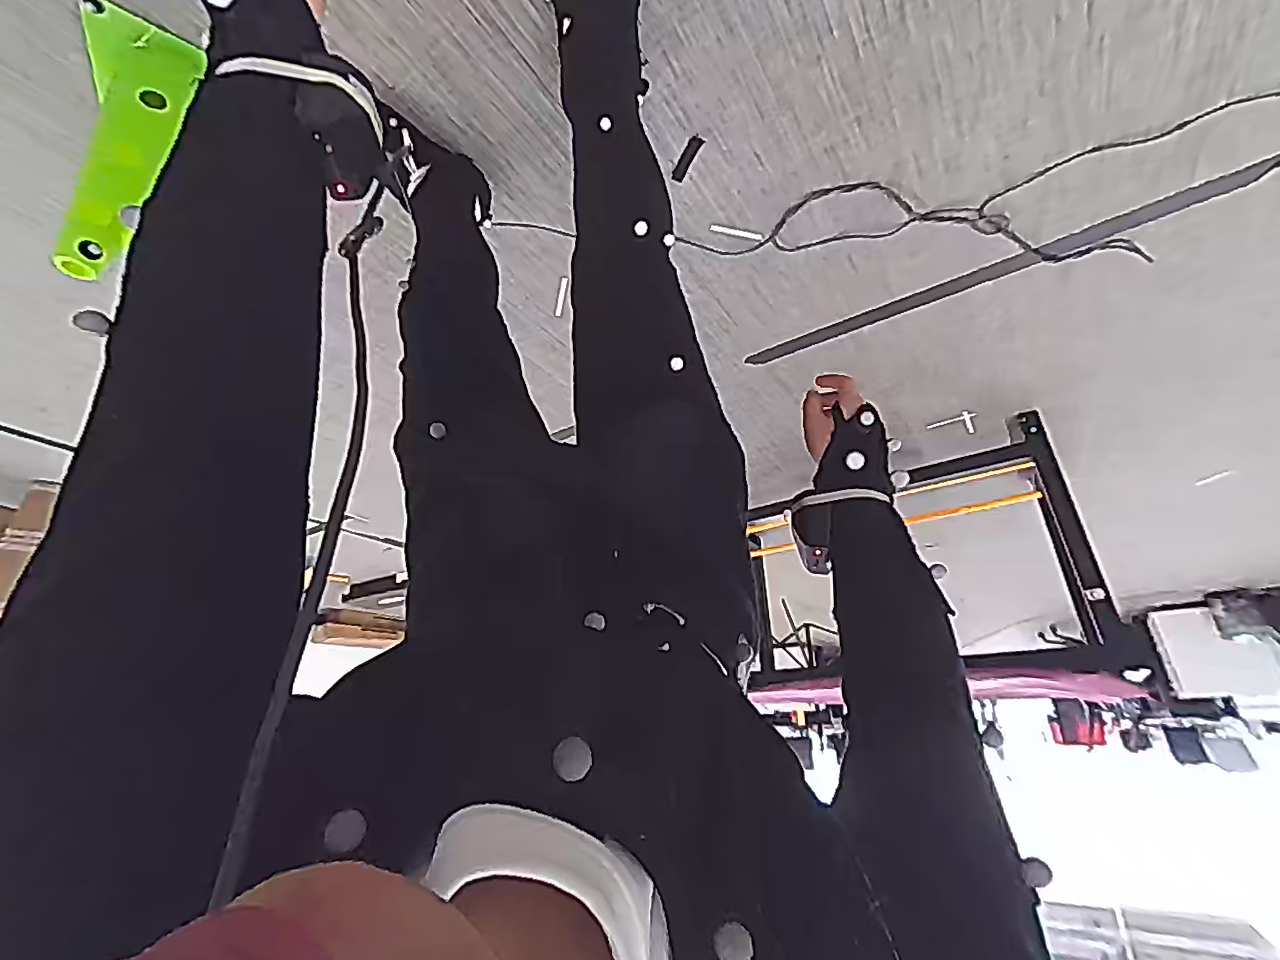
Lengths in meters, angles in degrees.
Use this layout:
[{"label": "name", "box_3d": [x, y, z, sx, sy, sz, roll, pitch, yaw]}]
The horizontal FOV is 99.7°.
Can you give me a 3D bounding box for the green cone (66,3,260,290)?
[{"label": "green cone", "box_3d": [-0.694, -0.411, 0.744, 0.202, 0.368, 0.200, 15, 151, -30]}]
